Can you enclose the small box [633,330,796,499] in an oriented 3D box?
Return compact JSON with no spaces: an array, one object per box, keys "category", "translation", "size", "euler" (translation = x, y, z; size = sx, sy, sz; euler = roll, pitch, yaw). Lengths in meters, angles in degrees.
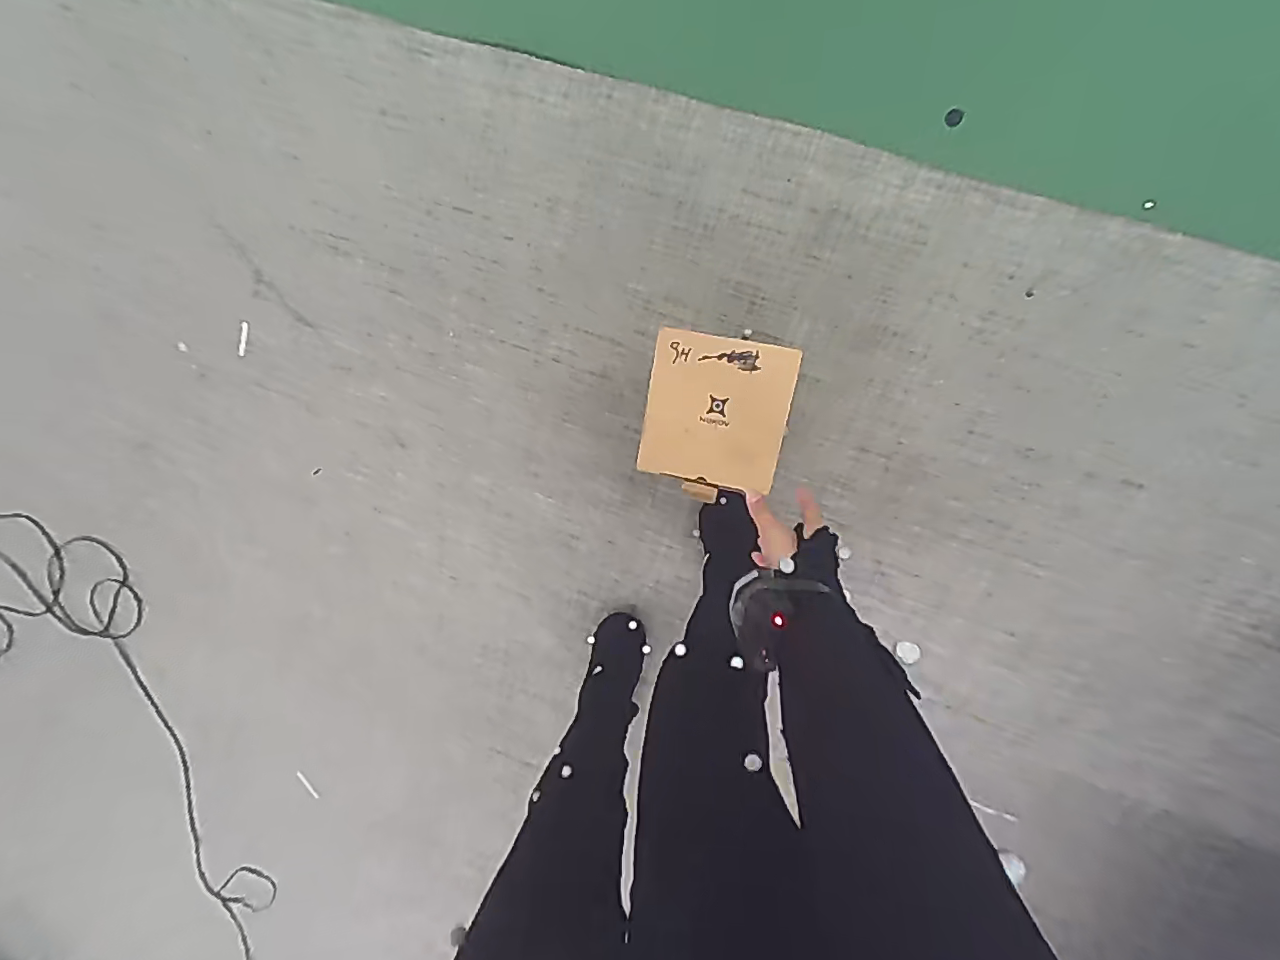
[{"category":"small box","translation":[0.098,-0.095,0.711],"size":[0.168,0.176,0.179],"euler":[12,106,7]}]
